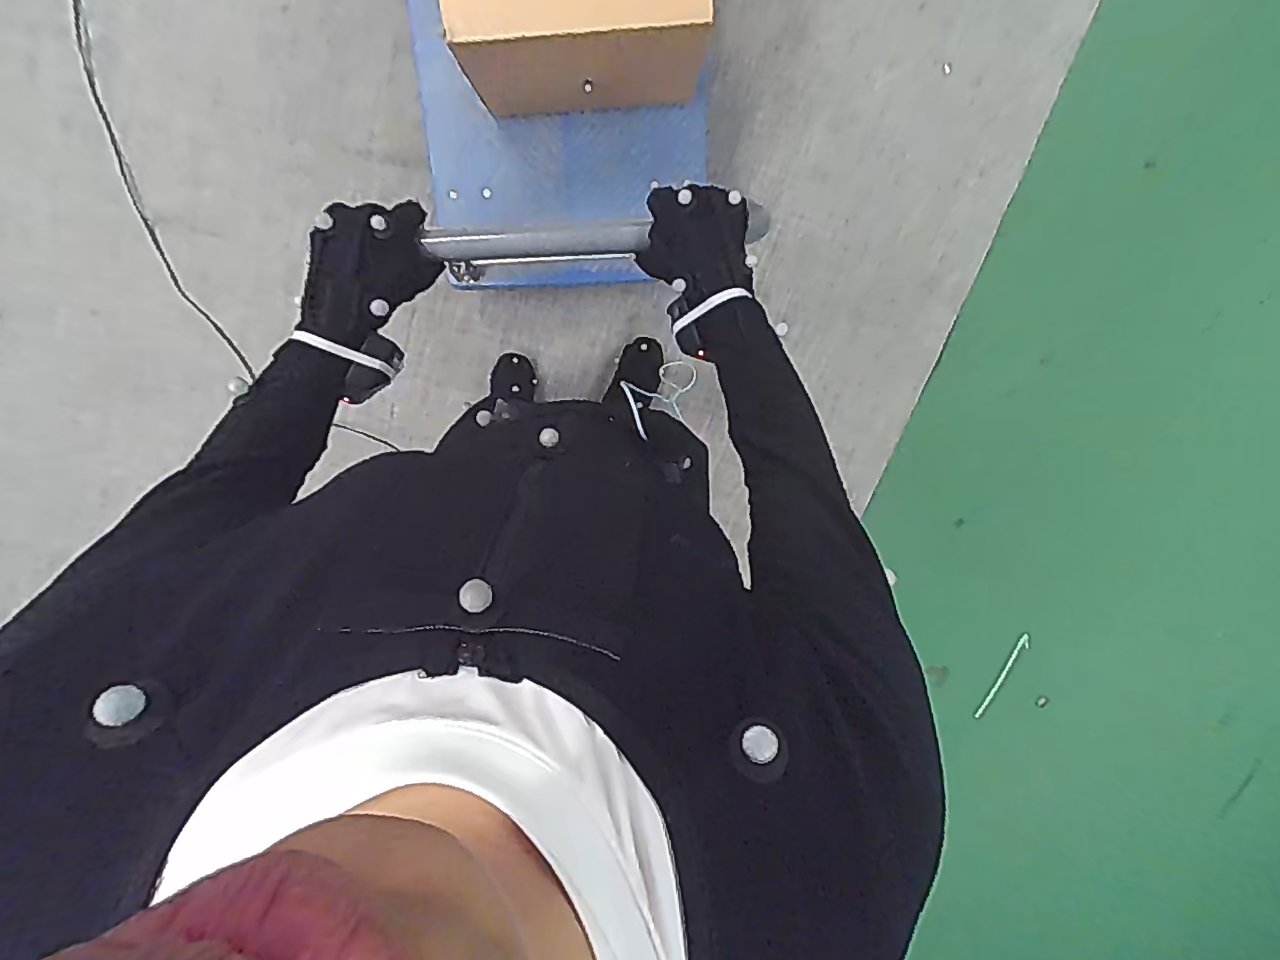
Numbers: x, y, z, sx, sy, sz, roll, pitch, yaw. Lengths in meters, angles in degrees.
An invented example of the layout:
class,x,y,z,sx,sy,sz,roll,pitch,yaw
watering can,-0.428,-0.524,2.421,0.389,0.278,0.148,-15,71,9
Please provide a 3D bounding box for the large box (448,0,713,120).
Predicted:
class,x,y,z,sx,sy,sz,roll,pitch,yaw
large box,-0.099,-0.858,0.928,0.408,0.320,0.320,-4,105,1
